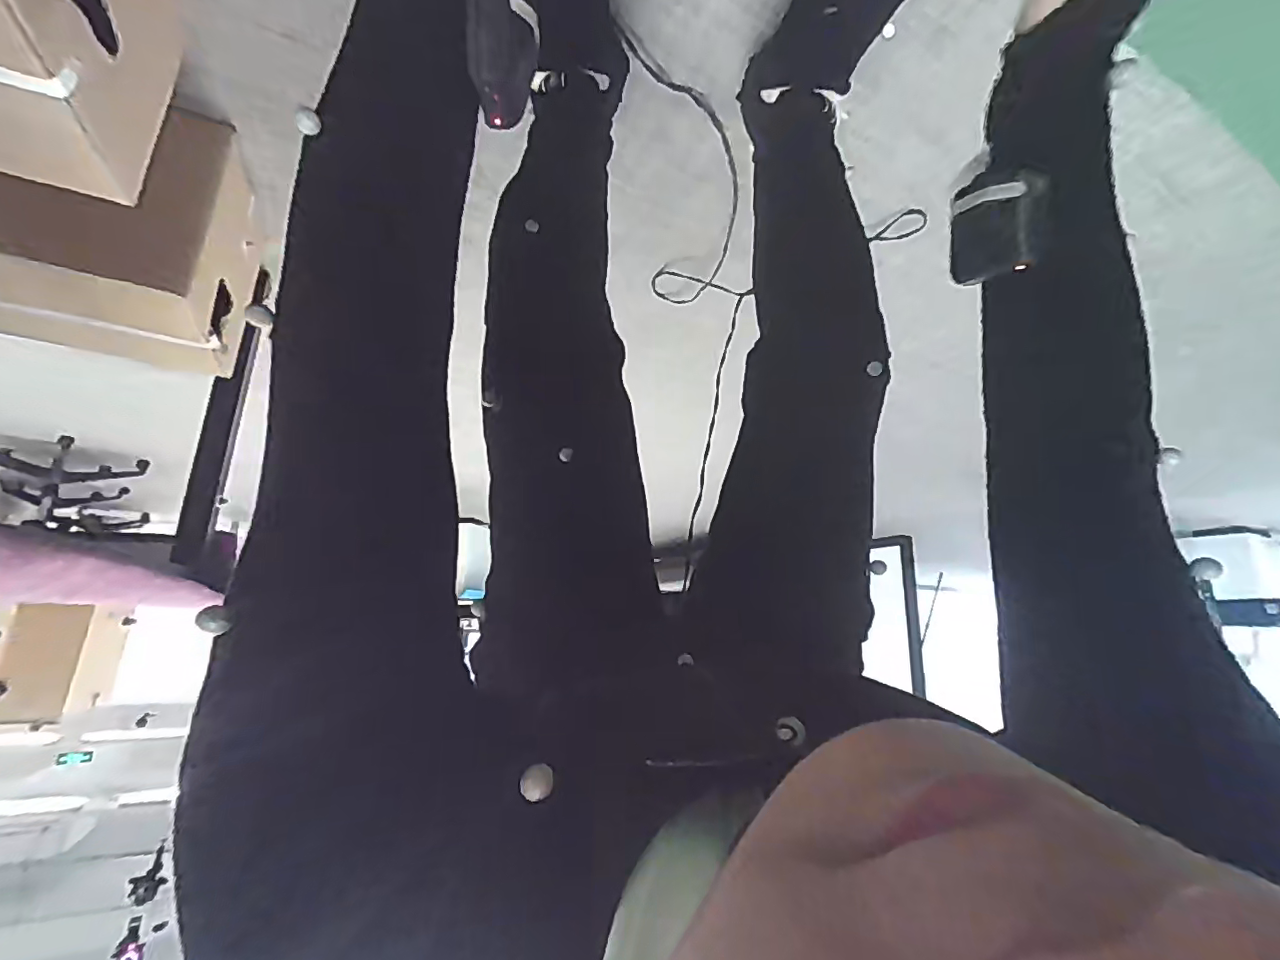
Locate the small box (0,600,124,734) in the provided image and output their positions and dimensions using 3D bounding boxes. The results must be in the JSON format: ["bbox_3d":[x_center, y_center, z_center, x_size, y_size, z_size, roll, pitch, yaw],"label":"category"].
[{"bbox_3d":[-0.916,0.269,0.800,0.179,0.176,0.168,11,162,-23],"label":"small box"}]

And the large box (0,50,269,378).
[{"bbox_3d":[-0.883,-0.402,0.859,0.408,0.320,0.320,11,162,-24],"label":"large box"}]
